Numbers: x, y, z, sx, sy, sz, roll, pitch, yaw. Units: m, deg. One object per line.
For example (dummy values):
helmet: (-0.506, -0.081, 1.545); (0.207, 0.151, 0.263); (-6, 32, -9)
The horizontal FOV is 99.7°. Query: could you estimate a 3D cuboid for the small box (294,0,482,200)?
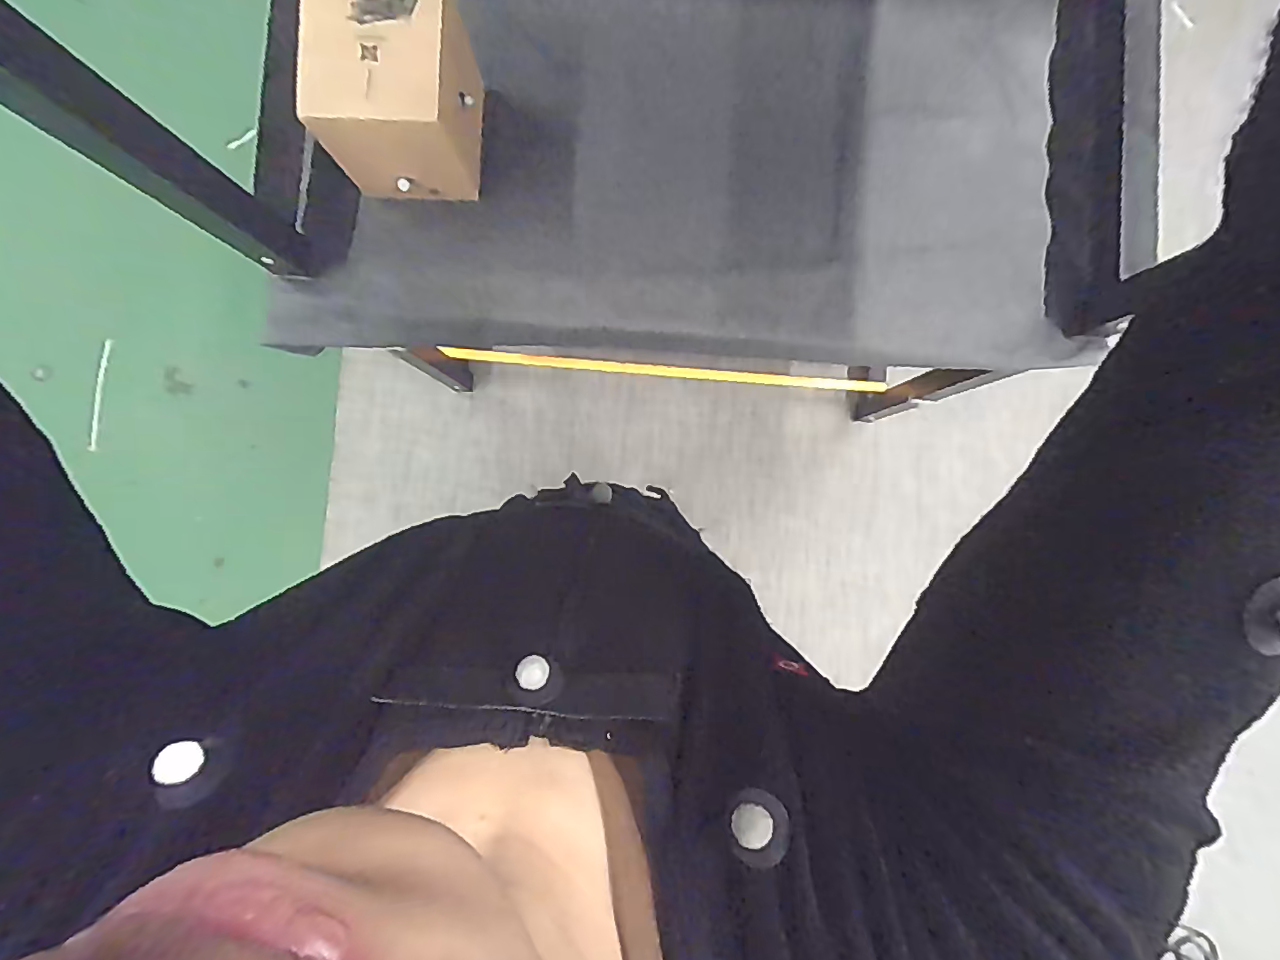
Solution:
small box: (-0.311, -0.498, 0.702); (0.168, 0.176, 0.179); (2, 88, 0)
